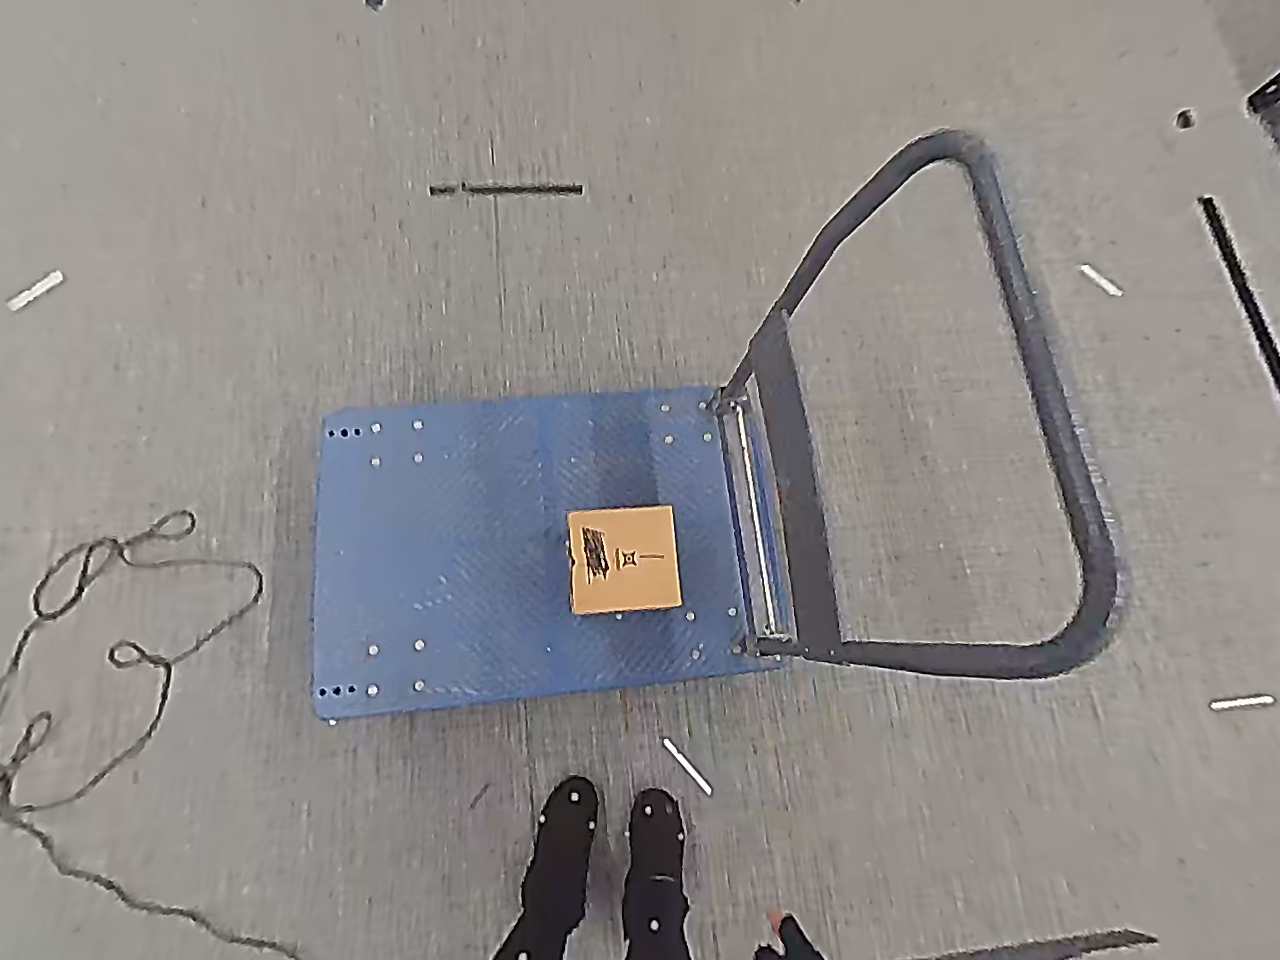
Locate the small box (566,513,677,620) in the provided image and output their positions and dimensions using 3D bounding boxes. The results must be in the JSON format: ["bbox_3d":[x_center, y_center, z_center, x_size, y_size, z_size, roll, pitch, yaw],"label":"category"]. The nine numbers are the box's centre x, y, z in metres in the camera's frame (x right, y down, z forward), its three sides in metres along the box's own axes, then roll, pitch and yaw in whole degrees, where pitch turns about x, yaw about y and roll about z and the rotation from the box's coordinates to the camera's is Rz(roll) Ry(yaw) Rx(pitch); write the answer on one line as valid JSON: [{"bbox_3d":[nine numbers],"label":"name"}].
[{"bbox_3d":[-0.036,0.158,0.959,0.179,0.176,0.168,-3,75,-5],"label":"small box"}]
